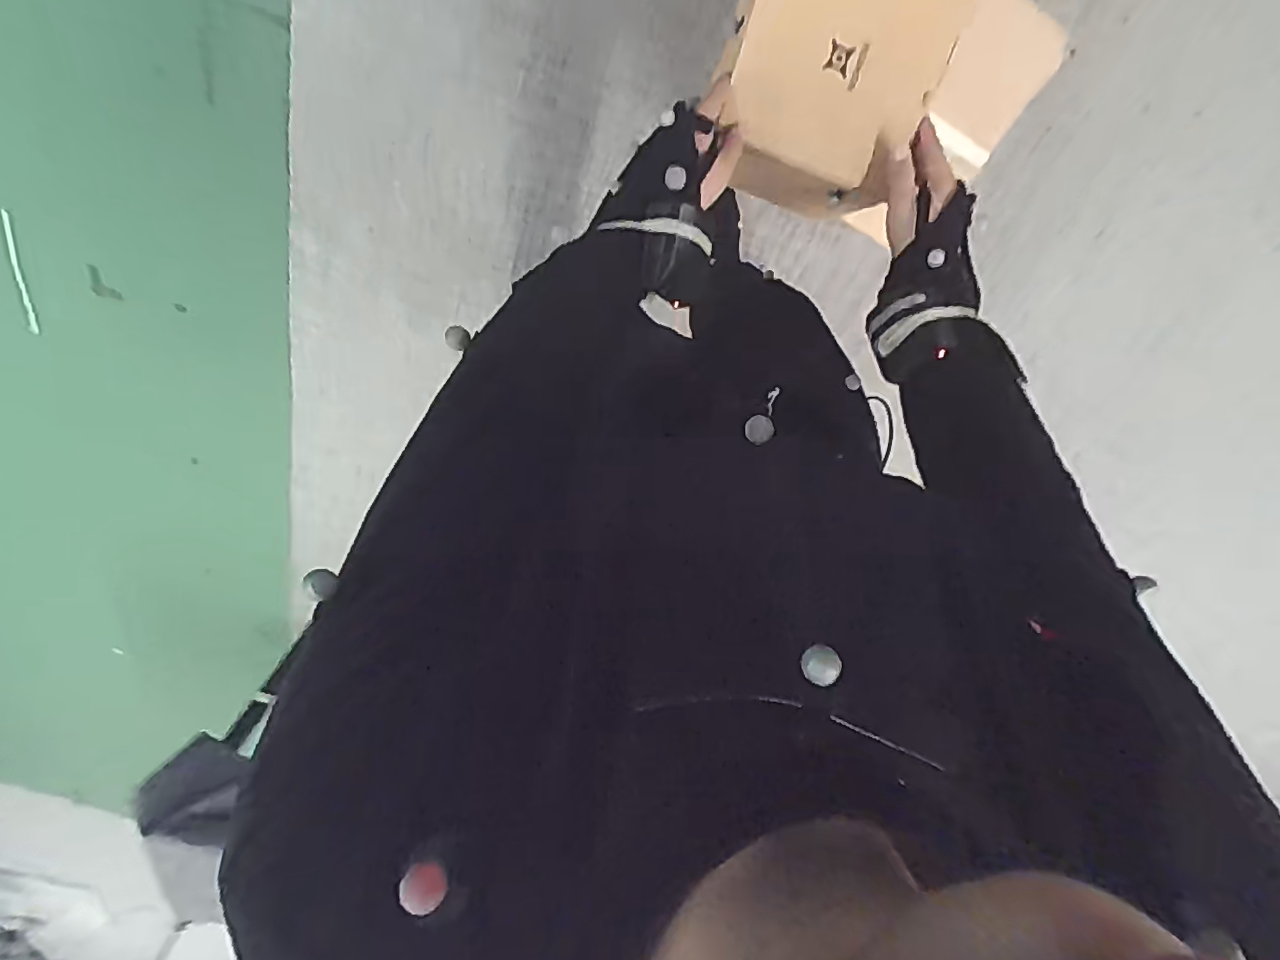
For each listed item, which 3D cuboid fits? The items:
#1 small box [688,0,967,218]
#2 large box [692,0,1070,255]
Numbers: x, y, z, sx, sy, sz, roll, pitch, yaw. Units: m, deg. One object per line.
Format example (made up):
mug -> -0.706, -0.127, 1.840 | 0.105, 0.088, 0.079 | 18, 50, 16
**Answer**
small box -> 0.158, -0.372, 0.527 | 0.179, 0.176, 0.168 | 15, 108, -9
large box -> 0.330, -0.630, 0.869 | 0.408, 0.320, 0.320 | 25, 123, -12
